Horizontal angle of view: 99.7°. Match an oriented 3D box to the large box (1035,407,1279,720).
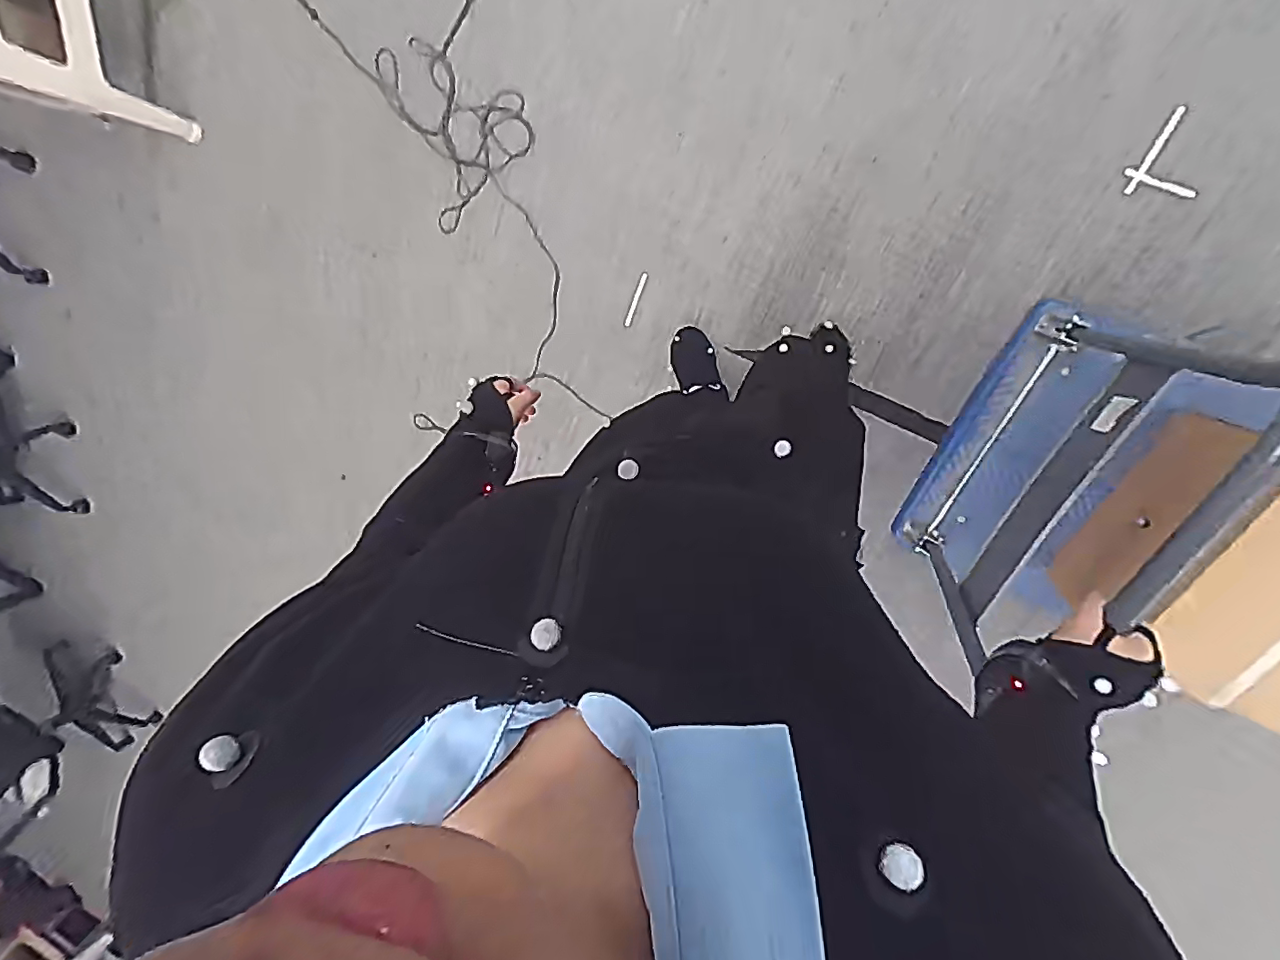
[{"bbox_3d":[1.039,0.129,0.983,0.320,0.320,0.408,24,113,6],"label":"large box"}]
